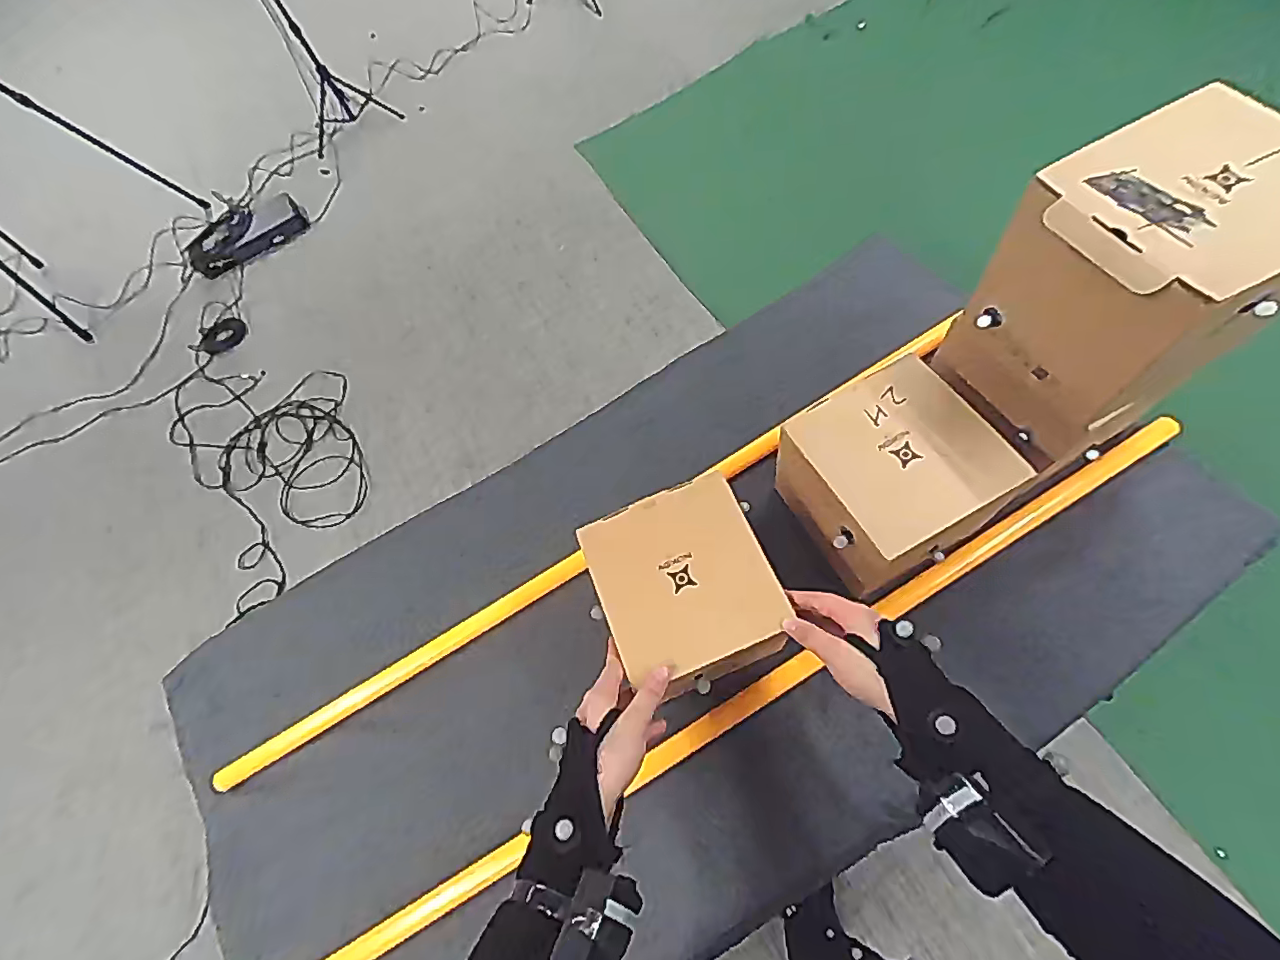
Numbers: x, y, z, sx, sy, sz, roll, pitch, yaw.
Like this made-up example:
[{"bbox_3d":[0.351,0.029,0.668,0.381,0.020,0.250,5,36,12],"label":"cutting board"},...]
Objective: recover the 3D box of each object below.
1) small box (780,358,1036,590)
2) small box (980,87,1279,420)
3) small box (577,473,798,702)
[{"bbox_3d":[0.272,0.007,0.600,0.168,0.176,0.179,-29,64,-1],"label":"small box"},{"bbox_3d":[0.436,-0.181,0.469,0.179,0.176,0.168,-27,64,-2],"label":"small box"},{"bbox_3d":[0.052,0.126,0.590,0.168,0.176,0.179,-23,63,-2],"label":"small box"}]
